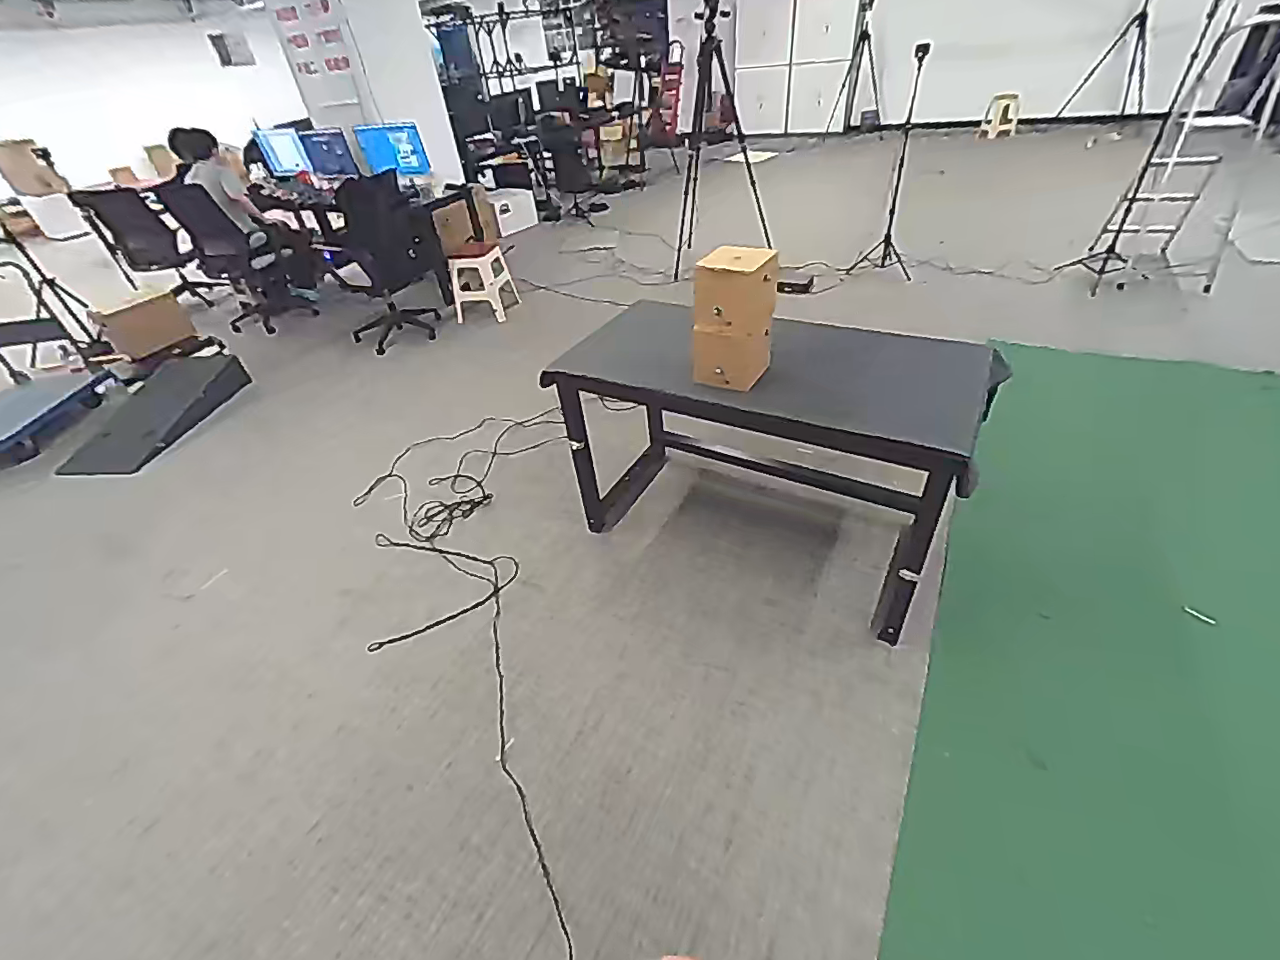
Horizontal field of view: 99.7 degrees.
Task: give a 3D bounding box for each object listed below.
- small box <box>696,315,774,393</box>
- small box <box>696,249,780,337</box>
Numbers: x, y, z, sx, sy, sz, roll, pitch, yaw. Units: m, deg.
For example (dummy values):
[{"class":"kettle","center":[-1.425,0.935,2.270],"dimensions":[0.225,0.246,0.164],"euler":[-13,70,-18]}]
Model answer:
[{"class":"small box","center":[0.269,-0.371,1.543],"dimensions":[0.168,0.176,0.179],"euler":[17,44,28]},{"class":"small box","center":[0.260,-0.502,1.448],"dimensions":[0.168,0.176,0.179],"euler":[18,45,28]}]
